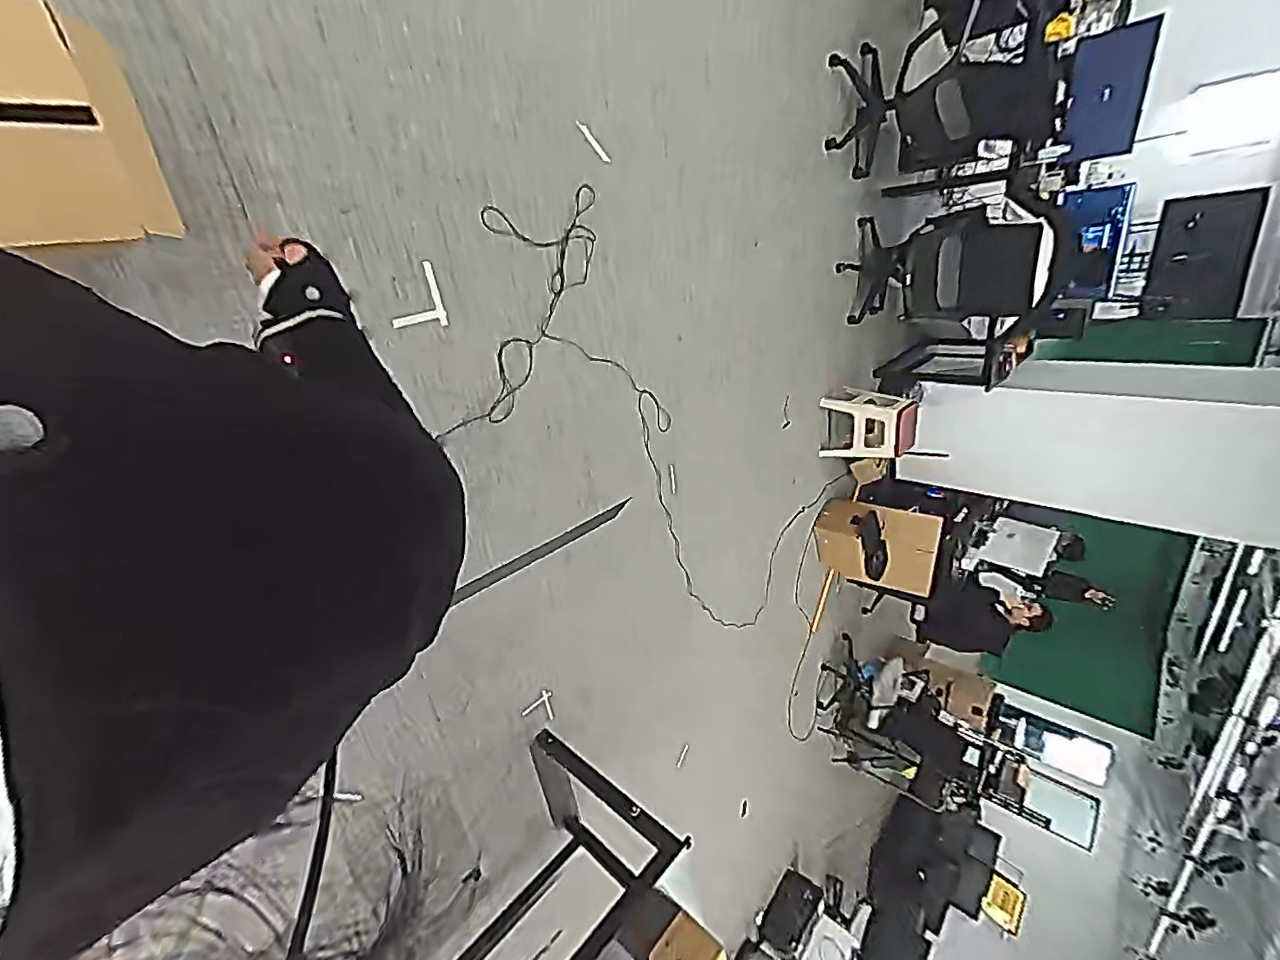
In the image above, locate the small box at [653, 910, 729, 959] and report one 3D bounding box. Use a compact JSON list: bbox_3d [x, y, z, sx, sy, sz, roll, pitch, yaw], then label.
[{"bbox_3d":[0.157,1.474,1.652,0.168,0.176,0.179,-31,123,-37],"label":"small box"}]
